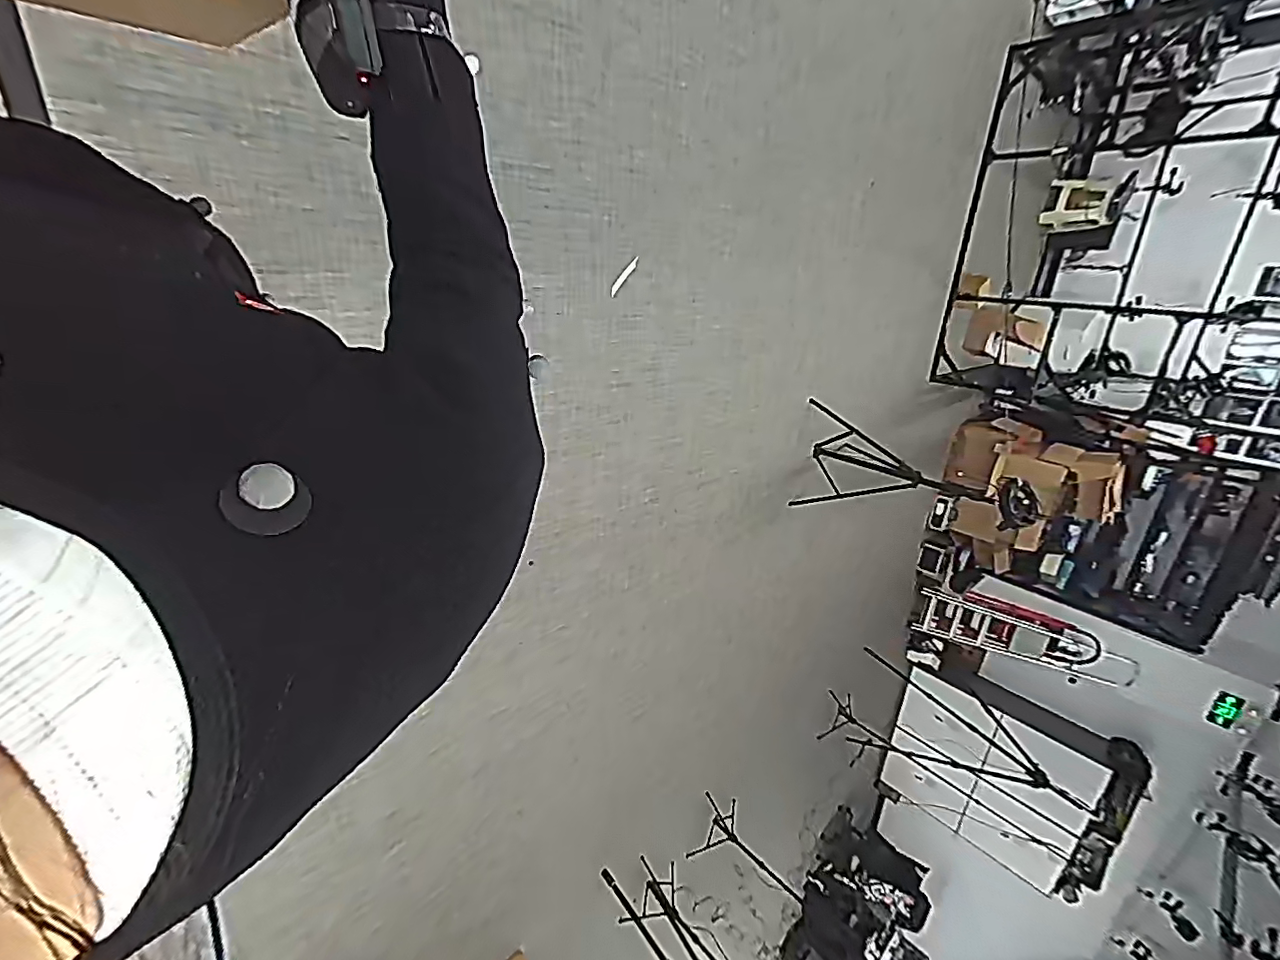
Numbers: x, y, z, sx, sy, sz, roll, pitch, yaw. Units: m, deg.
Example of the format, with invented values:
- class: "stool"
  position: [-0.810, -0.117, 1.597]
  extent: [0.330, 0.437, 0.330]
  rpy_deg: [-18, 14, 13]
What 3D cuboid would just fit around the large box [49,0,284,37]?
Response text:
- class: "large box"
  position: [-0.435, -0.457, 0.243]
  extent: [0.408, 0.320, 0.320]
  rpy_deg: [-17, 127, -40]
